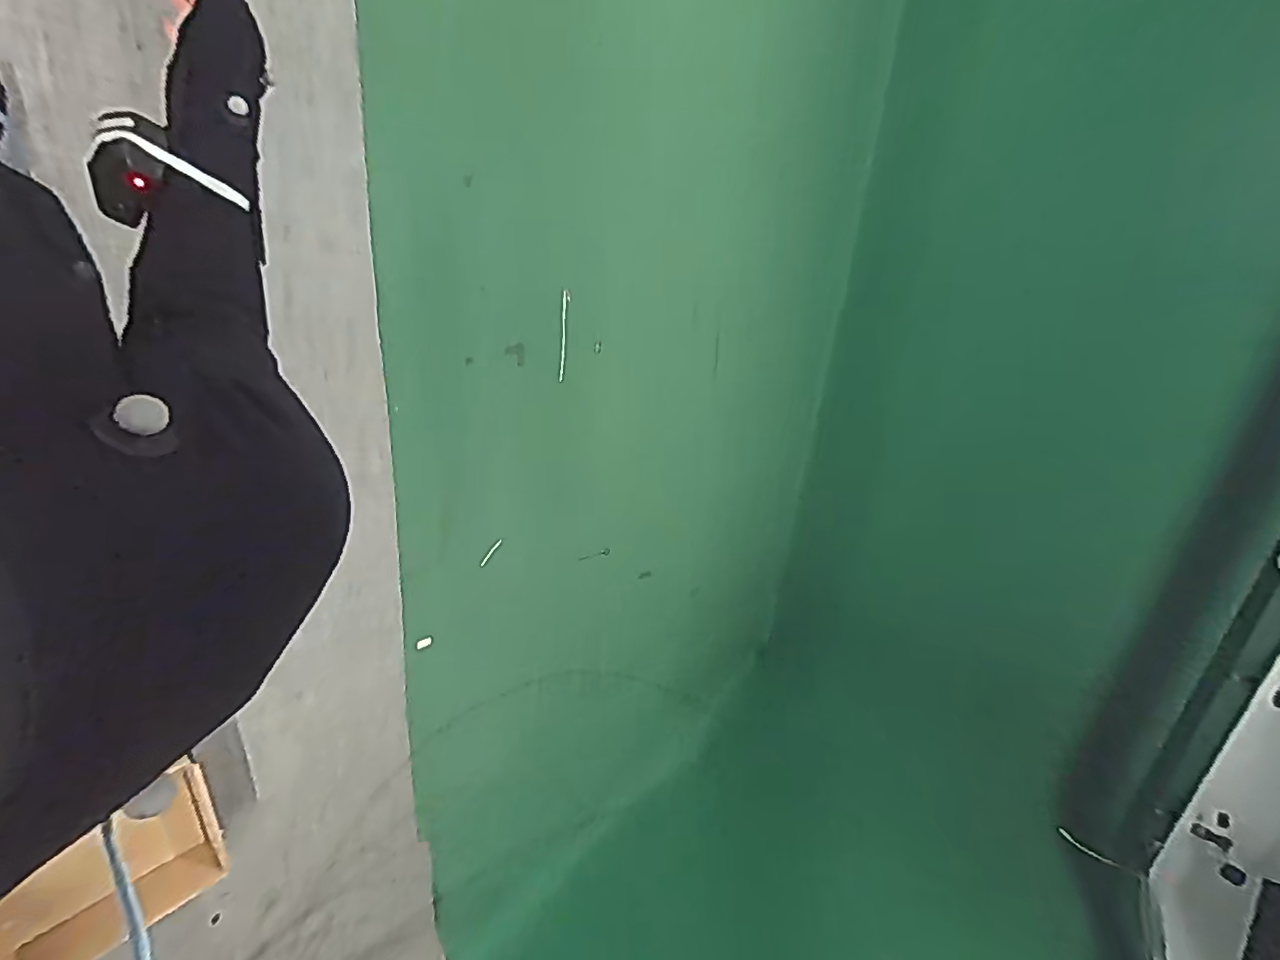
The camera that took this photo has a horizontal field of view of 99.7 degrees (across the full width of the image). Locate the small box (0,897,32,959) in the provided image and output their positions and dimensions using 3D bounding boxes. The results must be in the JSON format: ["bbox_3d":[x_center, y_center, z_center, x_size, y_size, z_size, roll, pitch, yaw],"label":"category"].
[{"bbox_3d":[-1.346,0.961,1.057,0.168,0.176,0.179,-28,128,-46],"label":"small box"}]
